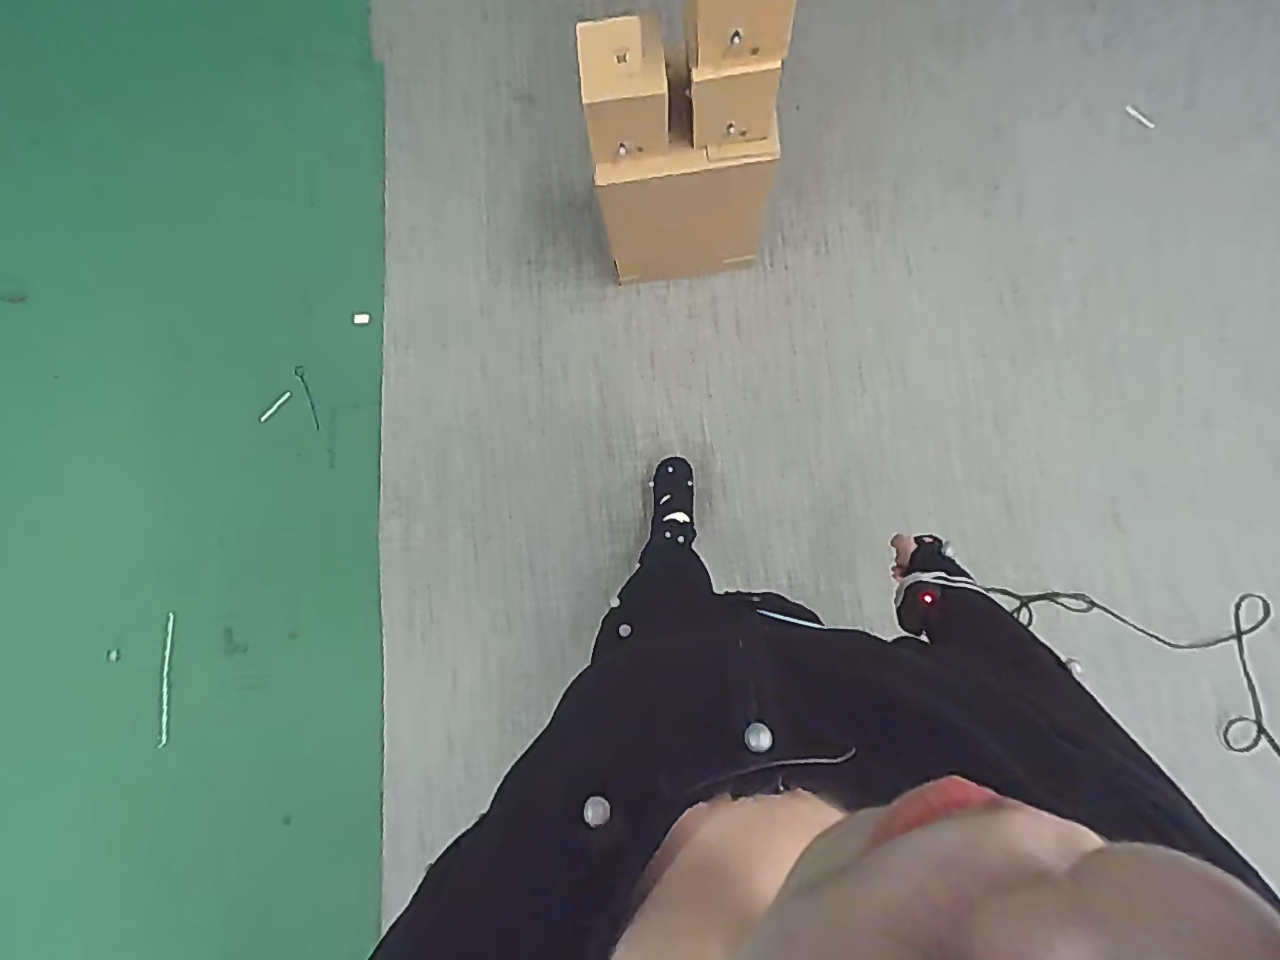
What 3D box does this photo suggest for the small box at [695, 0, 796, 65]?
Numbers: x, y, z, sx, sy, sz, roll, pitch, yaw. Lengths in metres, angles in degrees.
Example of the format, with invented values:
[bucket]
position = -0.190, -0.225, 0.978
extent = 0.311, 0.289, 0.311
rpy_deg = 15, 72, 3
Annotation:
[small box]
position = 0.180, -0.875, 0.940
extent = 0.168, 0.176, 0.179
rpy_deg = -2, 81, 6
